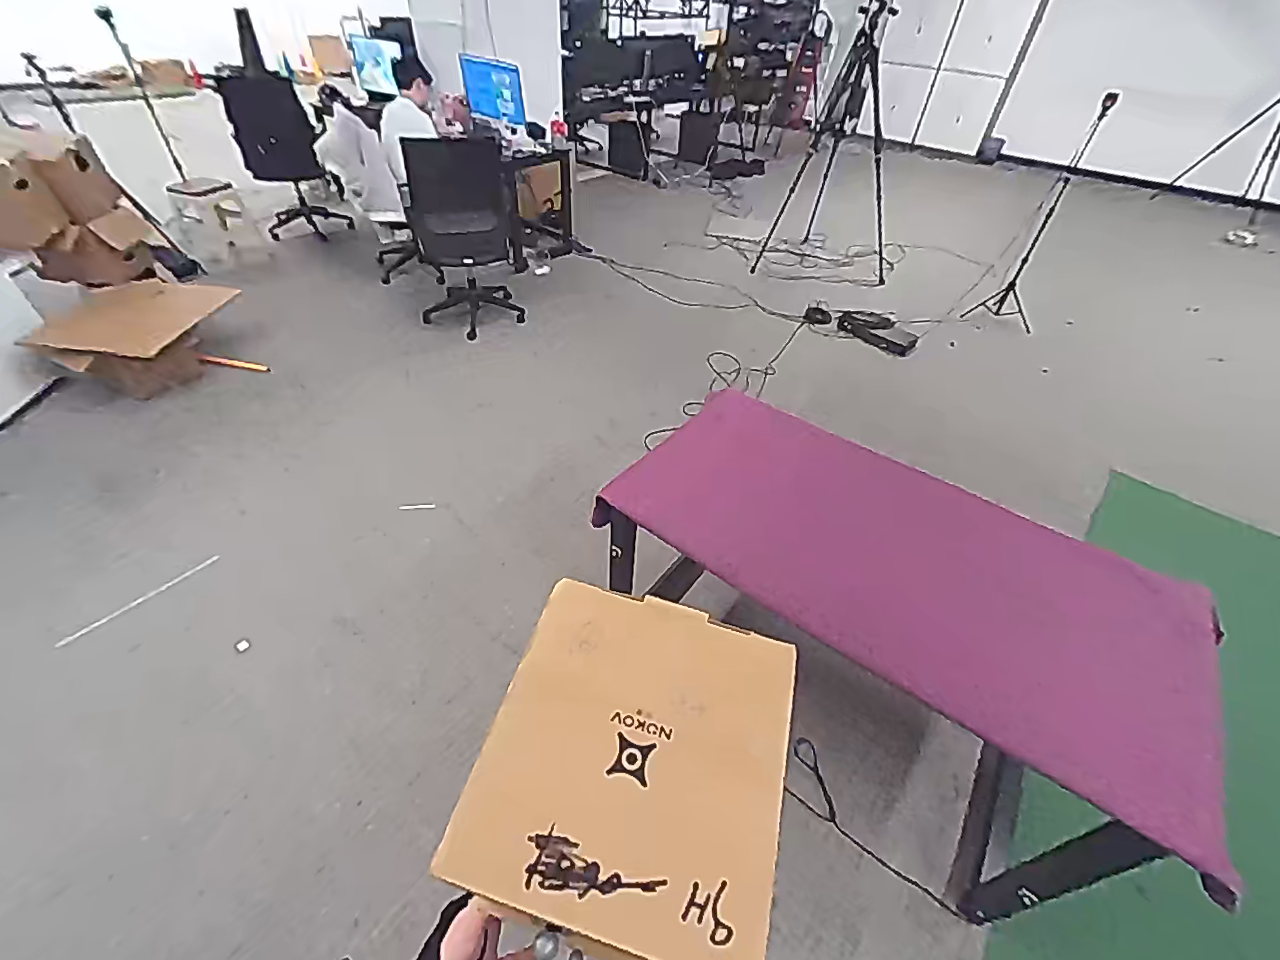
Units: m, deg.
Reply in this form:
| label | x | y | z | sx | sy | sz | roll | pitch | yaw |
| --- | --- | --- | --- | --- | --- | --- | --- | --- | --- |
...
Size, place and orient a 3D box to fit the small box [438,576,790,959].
| label | x | y | z | sx | sy | sz | roll | pitch | yaw |
| --- | --- | --- | --- | --- | --- | --- | --- | --- | --- |
| small box | -0.007 | 0.201 | 0.373 | 0.168 | 0.176 | 0.179 | 14 | 50 | 9 |
